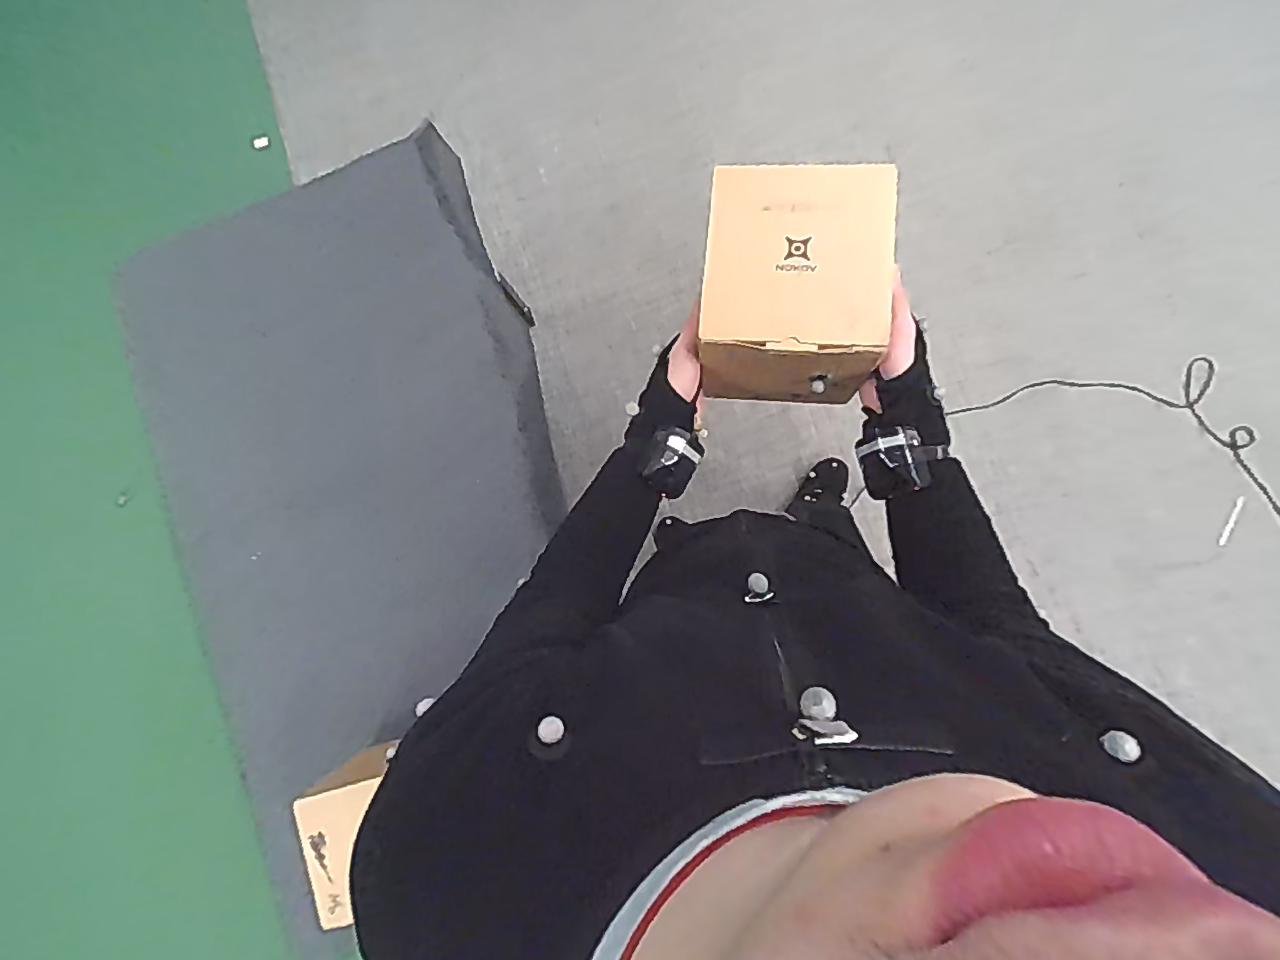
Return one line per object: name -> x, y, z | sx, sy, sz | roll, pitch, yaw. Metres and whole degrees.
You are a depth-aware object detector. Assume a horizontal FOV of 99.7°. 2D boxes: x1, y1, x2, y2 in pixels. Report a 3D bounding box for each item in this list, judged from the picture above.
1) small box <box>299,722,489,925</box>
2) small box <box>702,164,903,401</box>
small box -> -0.332, 0.470, 0.769 | 0.179, 0.176, 0.168 | -18, 84, 3
small box -> 0.156, -0.190, 0.560 | 0.168, 0.176, 0.179 | 5, 80, 8
